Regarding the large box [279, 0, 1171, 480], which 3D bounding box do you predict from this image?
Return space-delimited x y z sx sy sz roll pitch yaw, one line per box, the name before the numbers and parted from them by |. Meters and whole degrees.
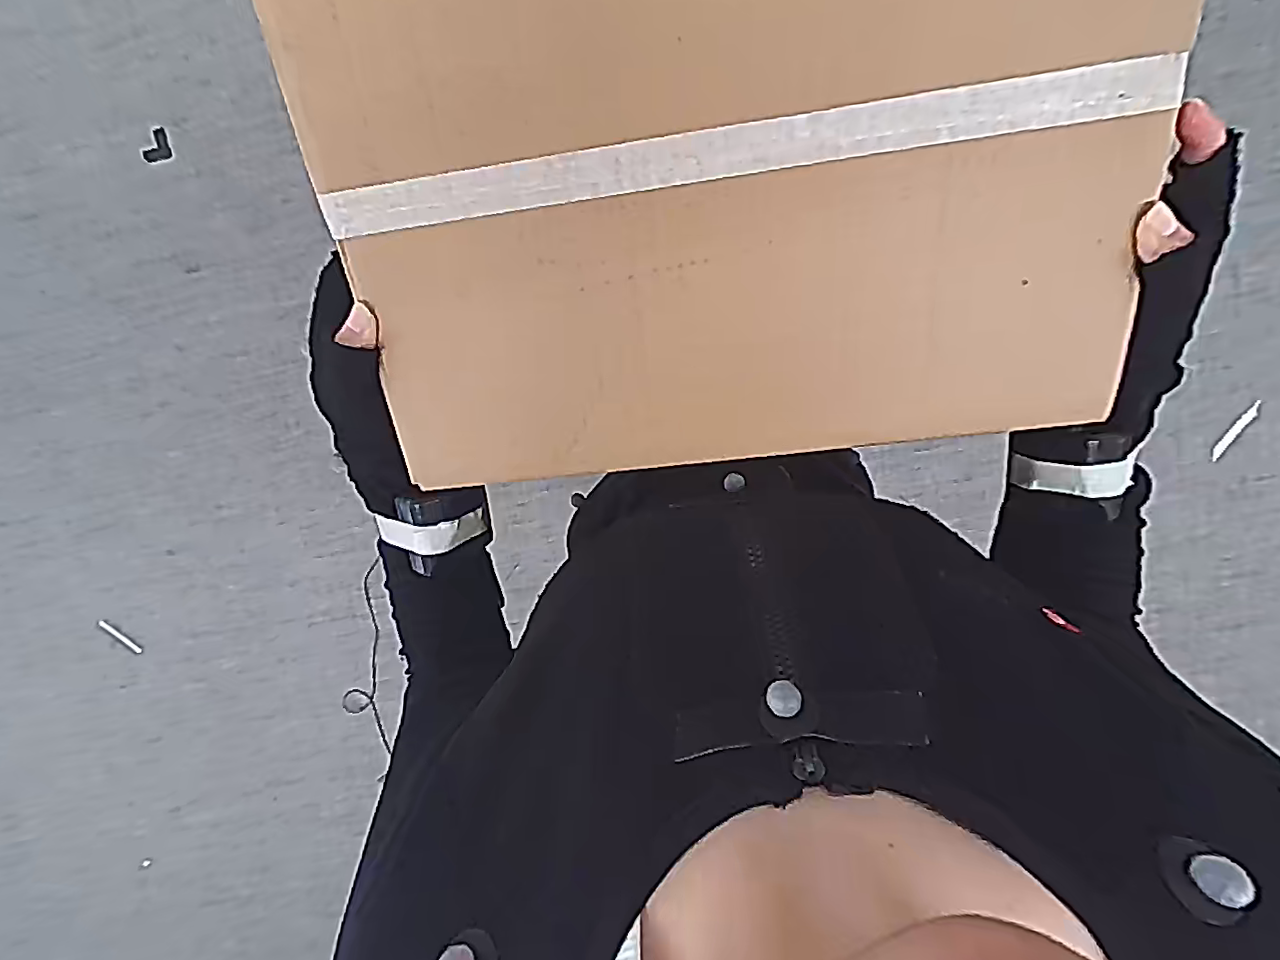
large box | 0.044 -0.219 0.406 0.408 0.320 0.320 -6 114 5
